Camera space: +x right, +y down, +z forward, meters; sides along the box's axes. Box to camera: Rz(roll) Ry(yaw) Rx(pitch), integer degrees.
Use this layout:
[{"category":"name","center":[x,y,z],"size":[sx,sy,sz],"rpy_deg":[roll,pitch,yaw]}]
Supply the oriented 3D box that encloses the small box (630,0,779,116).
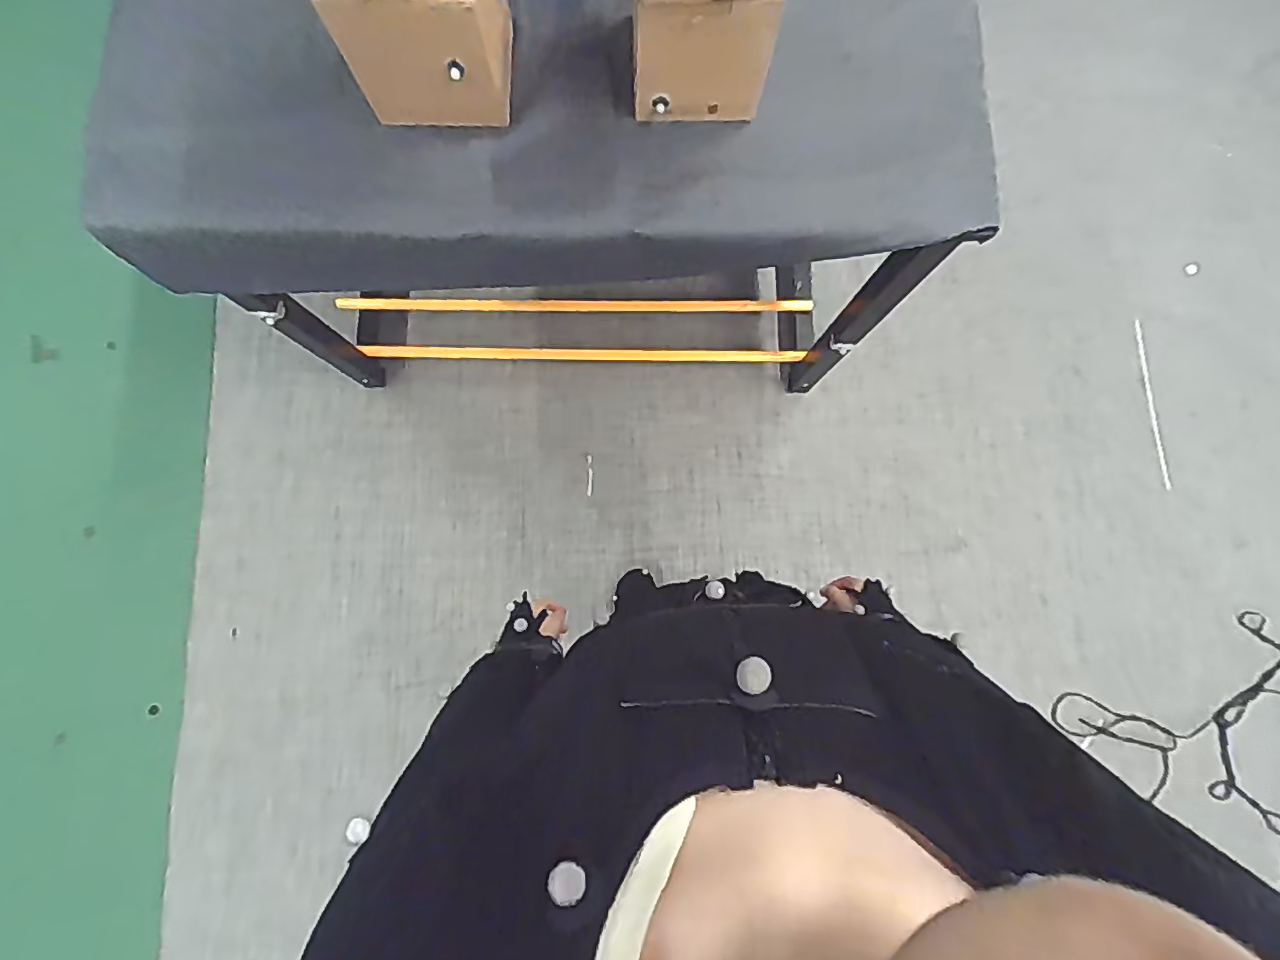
[{"category":"small box","center":[0.071,-0.592,0.677],"size":[0.168,0.176,0.179],"rpy_deg":[-2,80,-2]}]

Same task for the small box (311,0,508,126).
[{"category":"small box","center":[-0.266,-0.572,0.667],"size":[0.179,0.176,0.168],"rpy_deg":[-1,80,-1]}]
